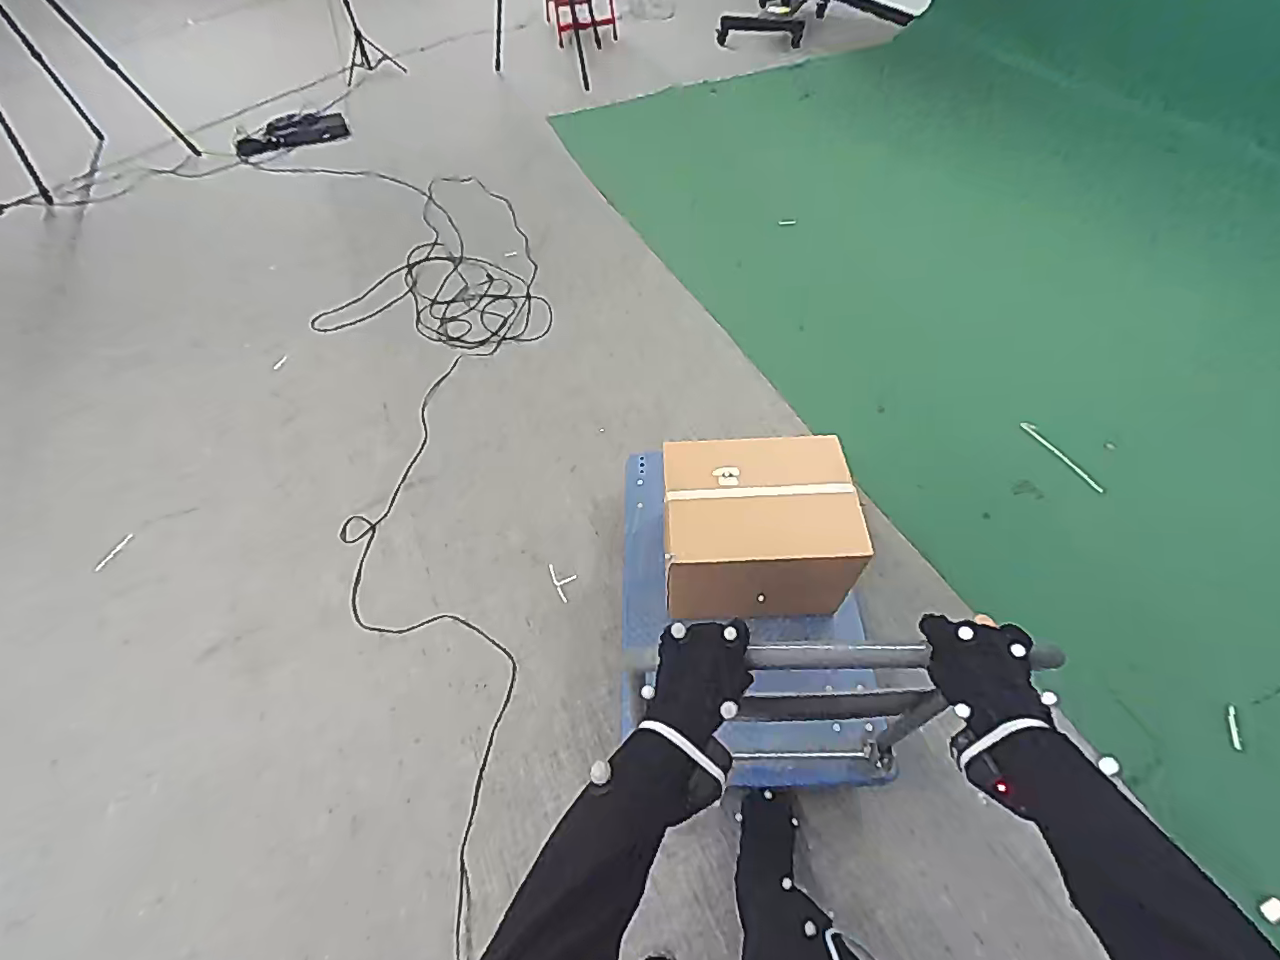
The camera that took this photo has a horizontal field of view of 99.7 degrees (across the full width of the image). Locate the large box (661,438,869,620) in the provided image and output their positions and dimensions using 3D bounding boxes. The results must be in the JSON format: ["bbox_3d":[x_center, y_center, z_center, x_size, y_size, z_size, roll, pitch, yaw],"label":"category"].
[{"bbox_3d":[0.264,0.125,1.287,0.408,0.320,0.320,-3,54,1],"label":"large box"}]
